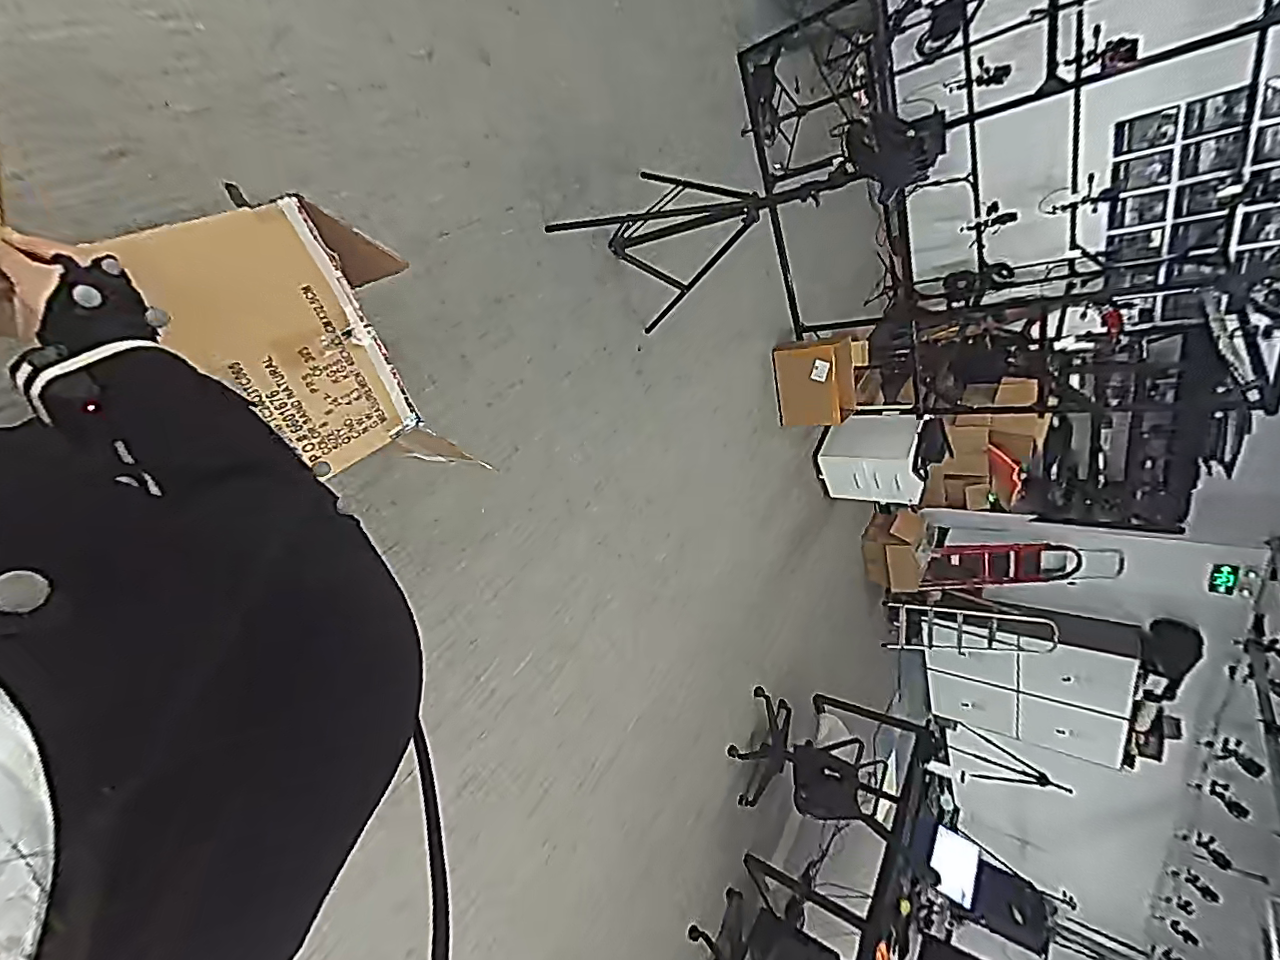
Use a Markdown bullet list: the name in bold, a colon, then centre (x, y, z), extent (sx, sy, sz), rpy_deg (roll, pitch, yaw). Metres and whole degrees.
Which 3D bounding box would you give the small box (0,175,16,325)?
- **small box**: centre (-0.643, -0.232, 0.430), extent (0.179, 0.176, 0.168), rpy_deg (-6, 85, -47)
